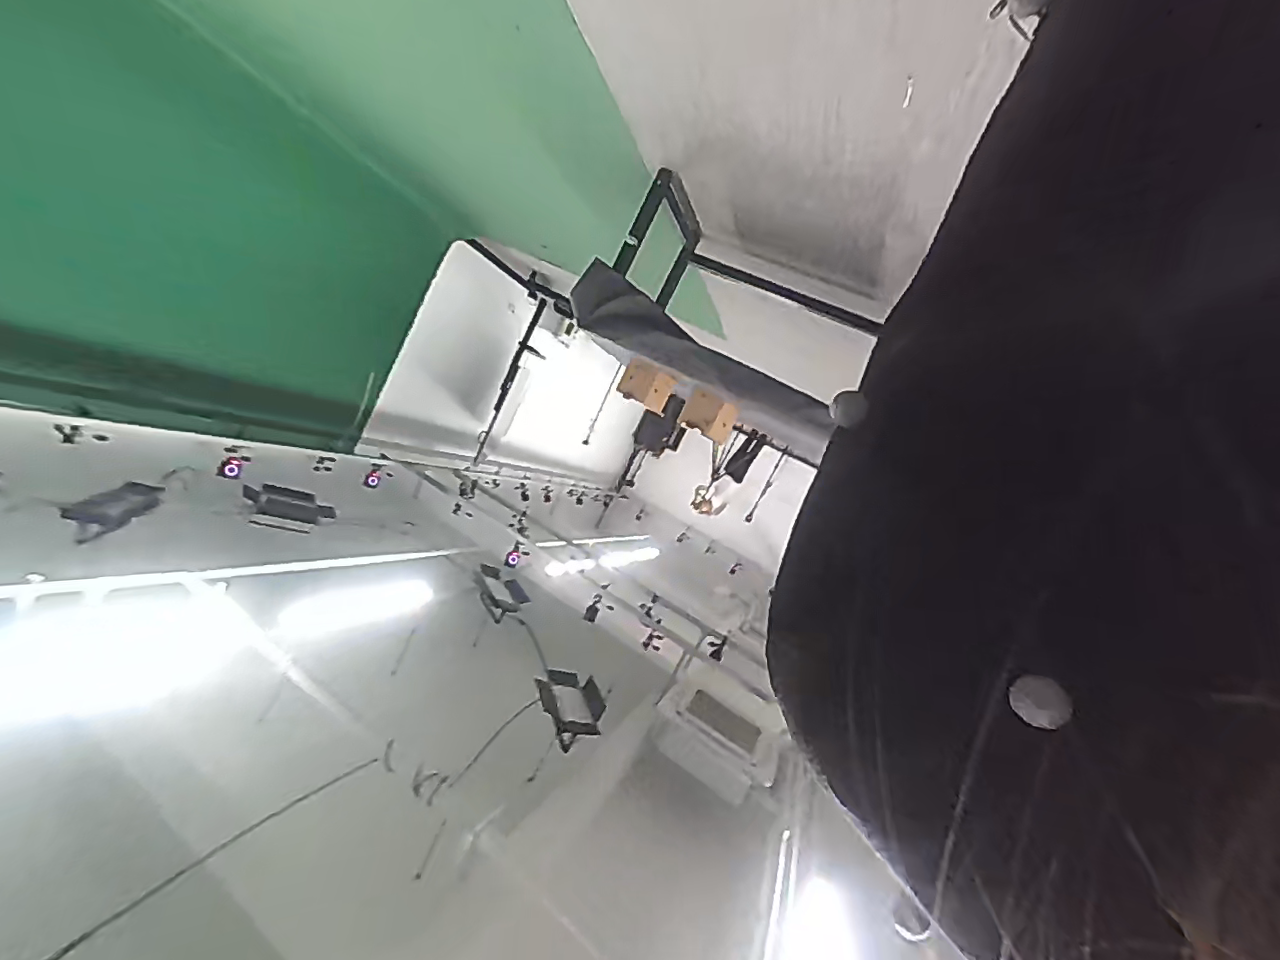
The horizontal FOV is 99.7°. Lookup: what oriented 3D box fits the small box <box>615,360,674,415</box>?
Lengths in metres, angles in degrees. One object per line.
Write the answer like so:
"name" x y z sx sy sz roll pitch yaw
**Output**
"small box" 0.024 -0.415 2.414 0.168 0.176 0.179 31 -173 29
